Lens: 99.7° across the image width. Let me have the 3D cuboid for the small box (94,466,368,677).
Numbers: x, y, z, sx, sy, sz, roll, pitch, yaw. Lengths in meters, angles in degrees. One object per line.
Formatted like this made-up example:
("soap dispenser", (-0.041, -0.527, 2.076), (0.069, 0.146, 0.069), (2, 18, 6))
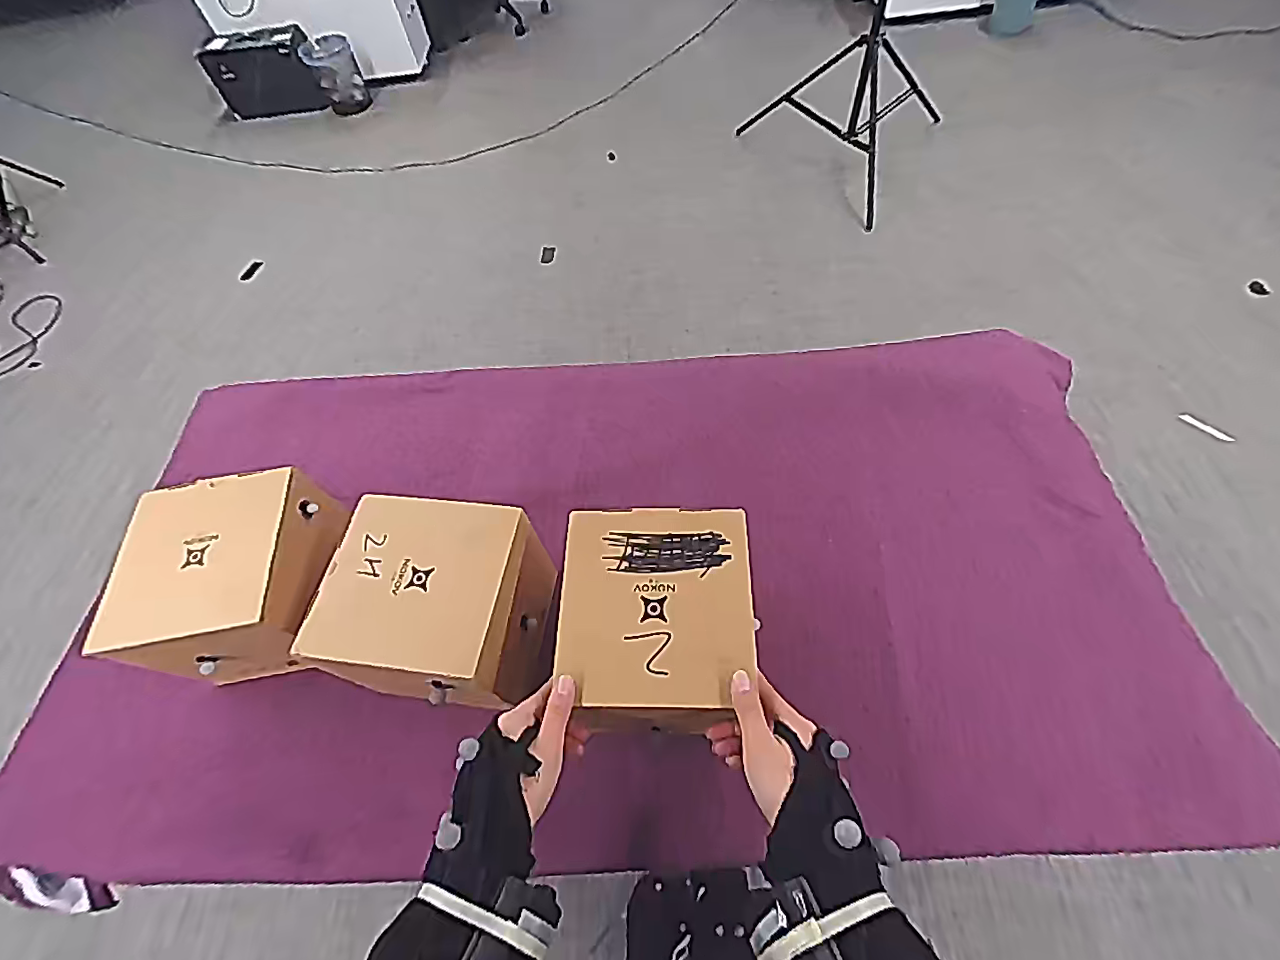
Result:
("small box", (-0.431, 0.112, 0.610), (0.168, 0.176, 0.179), (-11, 58, -1))
